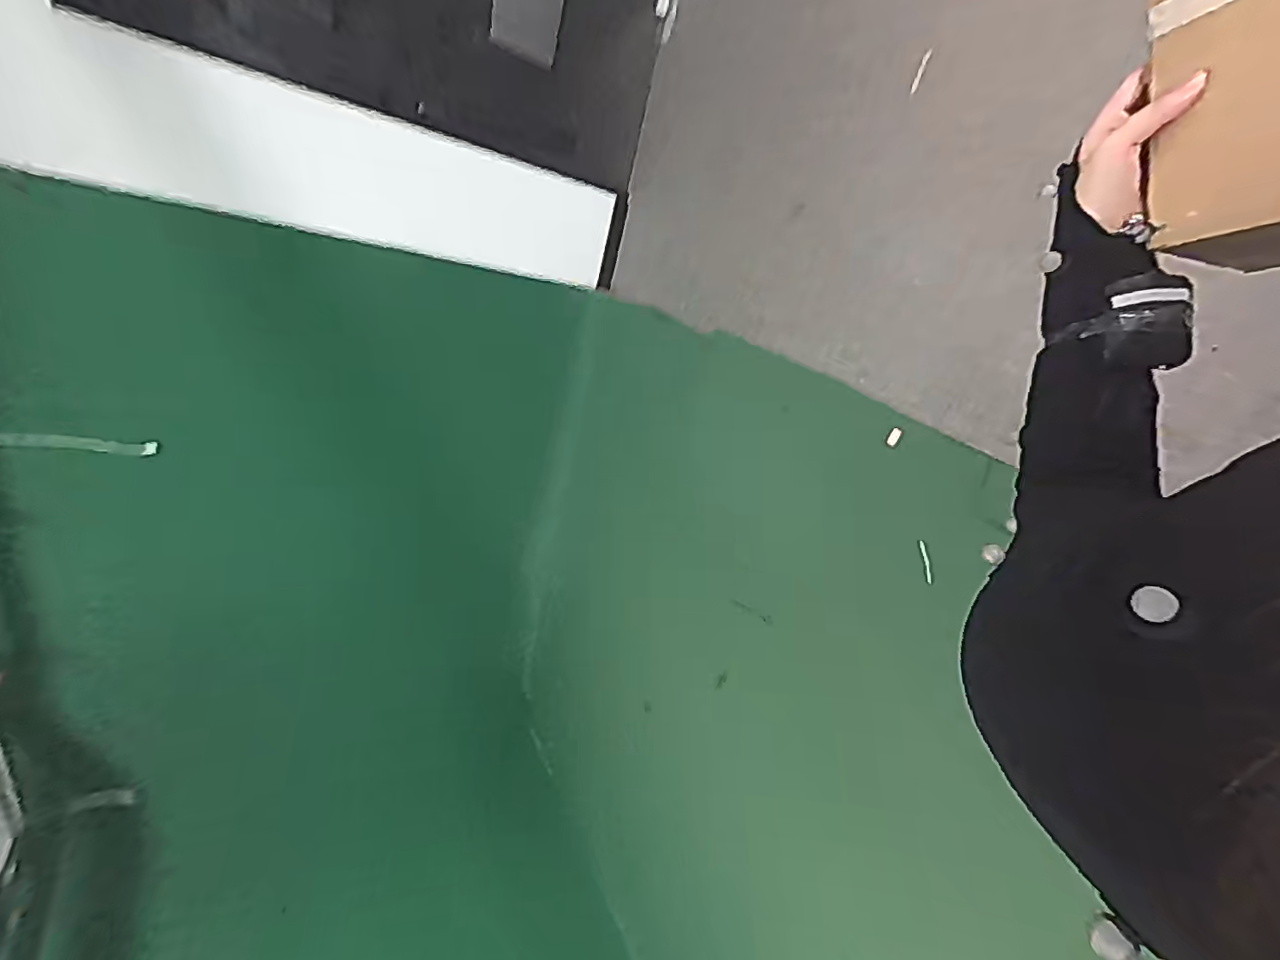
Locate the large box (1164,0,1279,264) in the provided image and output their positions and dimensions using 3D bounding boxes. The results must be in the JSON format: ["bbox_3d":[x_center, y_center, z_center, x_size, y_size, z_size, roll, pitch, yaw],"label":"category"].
[{"bbox_3d":[0.622,-0.341,0.307,0.408,0.320,0.320,6,103,58],"label":"large box"}]
